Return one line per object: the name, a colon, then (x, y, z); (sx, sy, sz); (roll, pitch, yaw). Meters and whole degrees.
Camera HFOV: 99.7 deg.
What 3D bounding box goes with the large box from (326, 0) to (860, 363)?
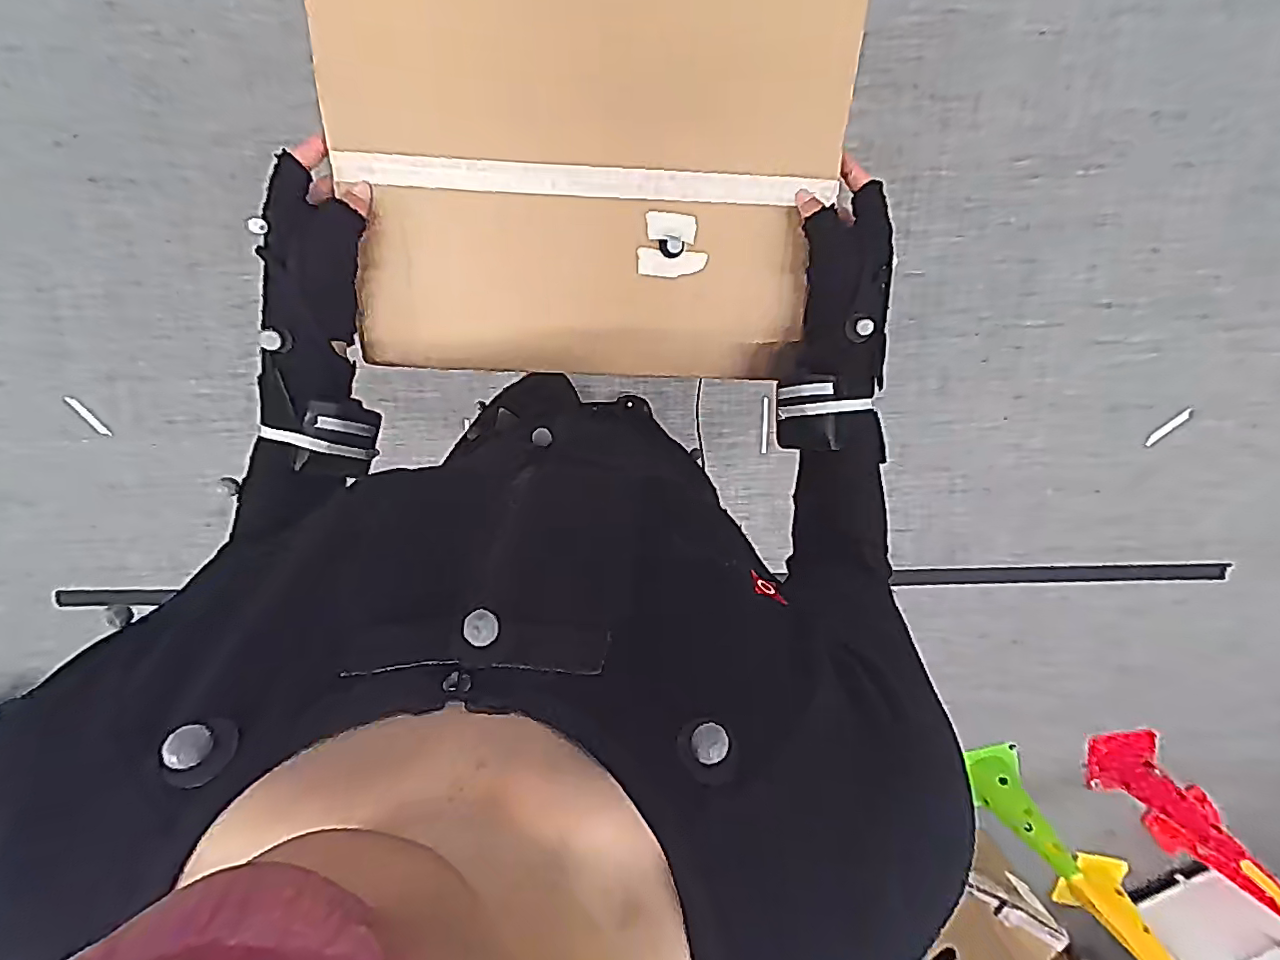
large box: (-0.044, -0.311, 0.581); (0.408, 0.320, 0.320); (0, 114, -5)
